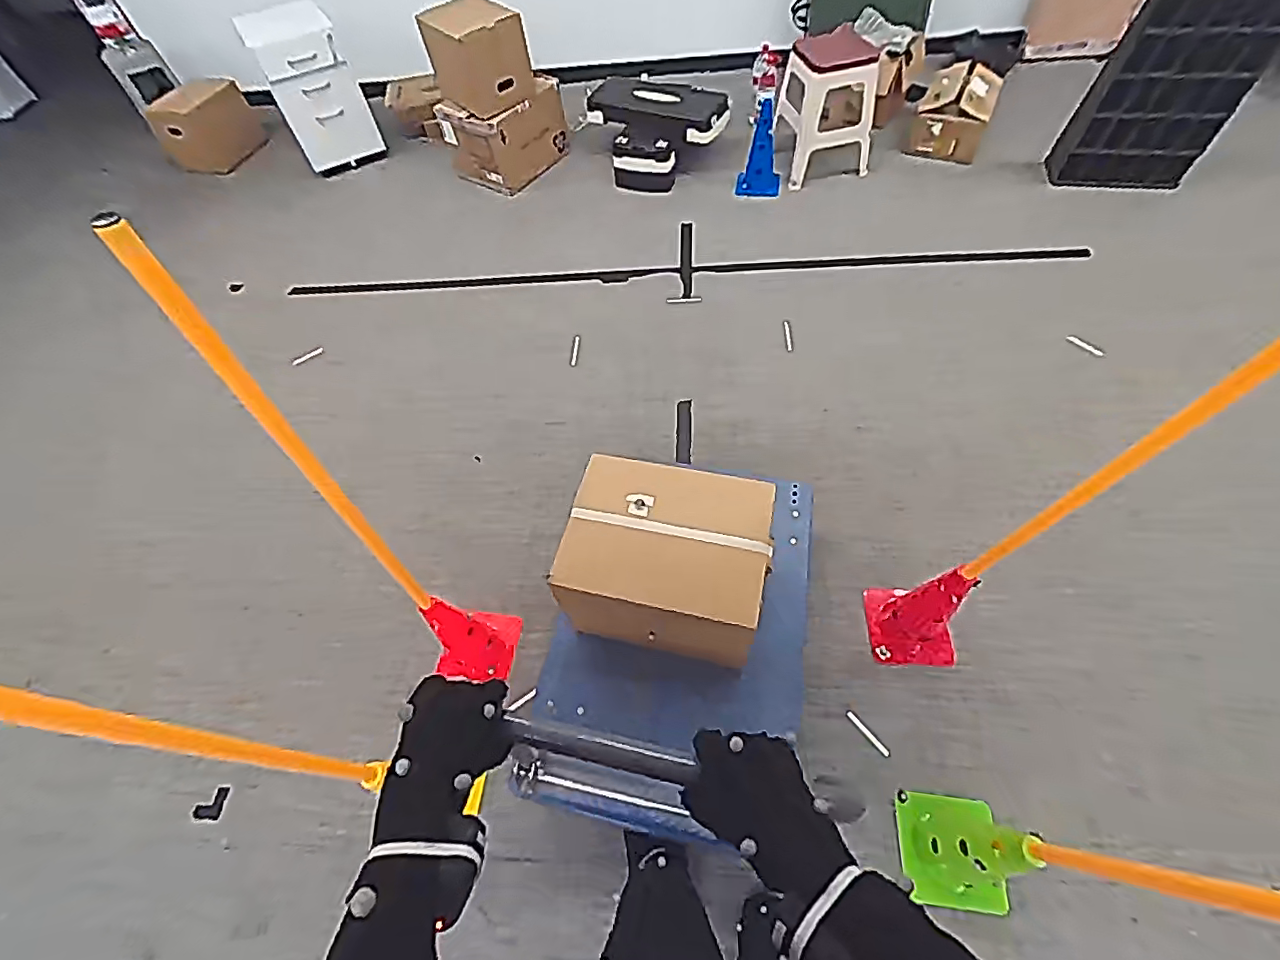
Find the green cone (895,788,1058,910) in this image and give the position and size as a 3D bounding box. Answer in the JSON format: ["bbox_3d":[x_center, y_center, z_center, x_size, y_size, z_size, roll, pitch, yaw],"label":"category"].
[{"bbox_3d":[0.646,0.683,1.003,0.202,0.368,0.200,3,57,6],"label":"green cone"}]

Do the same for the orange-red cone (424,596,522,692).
[{"bbox_3d":[-0.444,0.363,1.321,0.198,0.360,0.199,6,56,8],"label":"orange-red cone"}]

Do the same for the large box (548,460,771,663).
[{"bbox_3d":[0.063,0.188,1.211,0.408,0.320,0.320,9,59,12],"label":"large box"}]

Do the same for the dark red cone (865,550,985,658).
[{"bbox_3d":[0.684,0.266,1.249,0.201,0.394,0.202,0,57,4],"label":"dark red cone"}]
